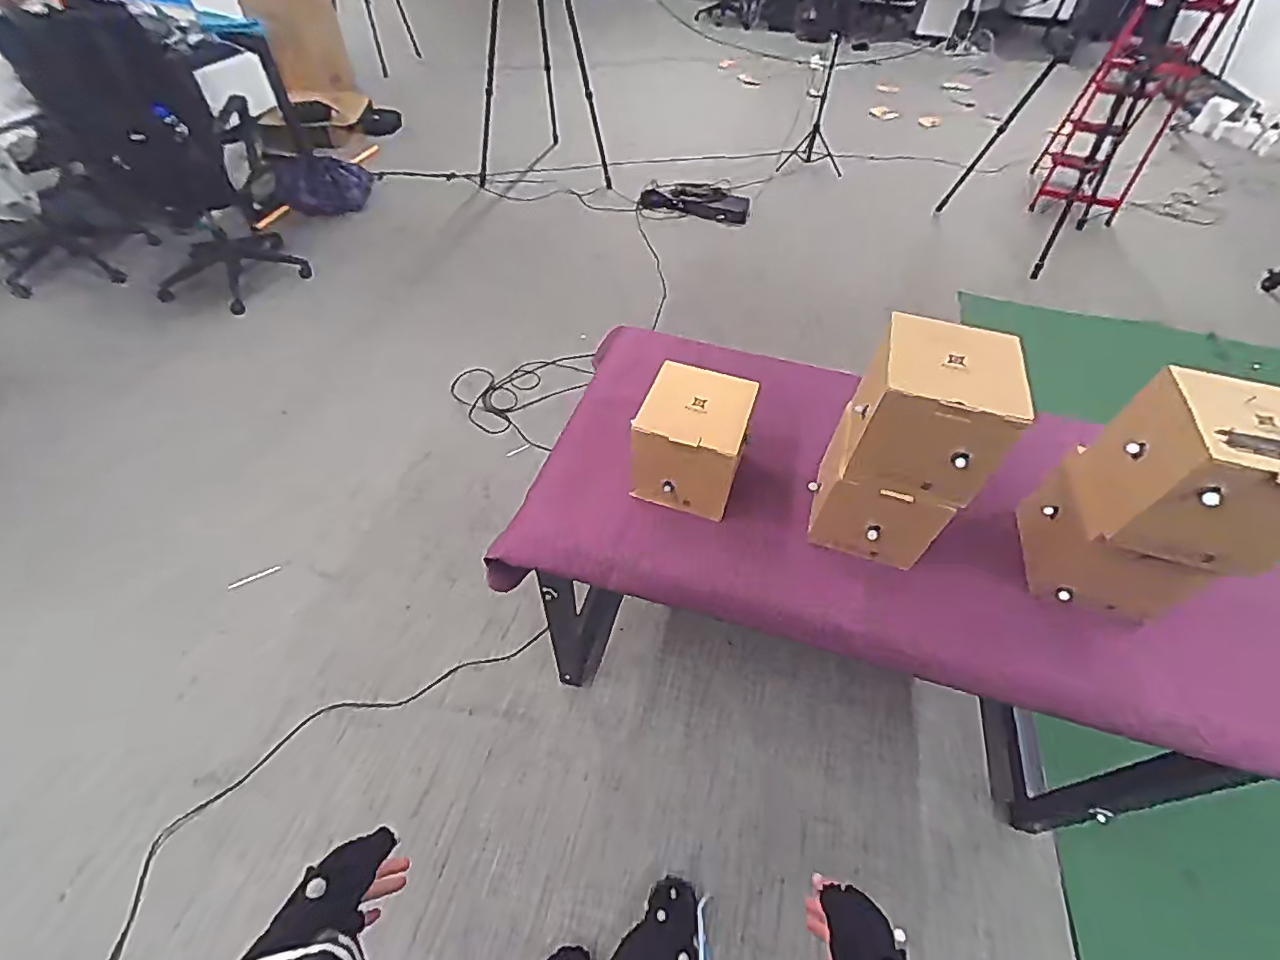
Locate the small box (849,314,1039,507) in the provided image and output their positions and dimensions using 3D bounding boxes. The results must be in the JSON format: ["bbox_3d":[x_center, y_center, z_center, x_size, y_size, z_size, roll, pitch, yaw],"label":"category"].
[{"bbox_3d":[0.394,-0.090,0.730,0.168,0.176,0.179,16,52,10],"label":"small box"}]

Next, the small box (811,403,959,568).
[{"bbox_3d":[0.381,0.013,0.856,0.168,0.176,0.179,17,52,11],"label":"small box"}]

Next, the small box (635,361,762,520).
[{"bbox_3d":[0.092,-0.065,0.907,0.168,0.176,0.179,17,52,10],"label":"small box"}]

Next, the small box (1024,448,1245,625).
[{"bbox_3d":[0.711,0.088,0.806,0.168,0.176,0.179,19,52,10],"label":"small box"}]
